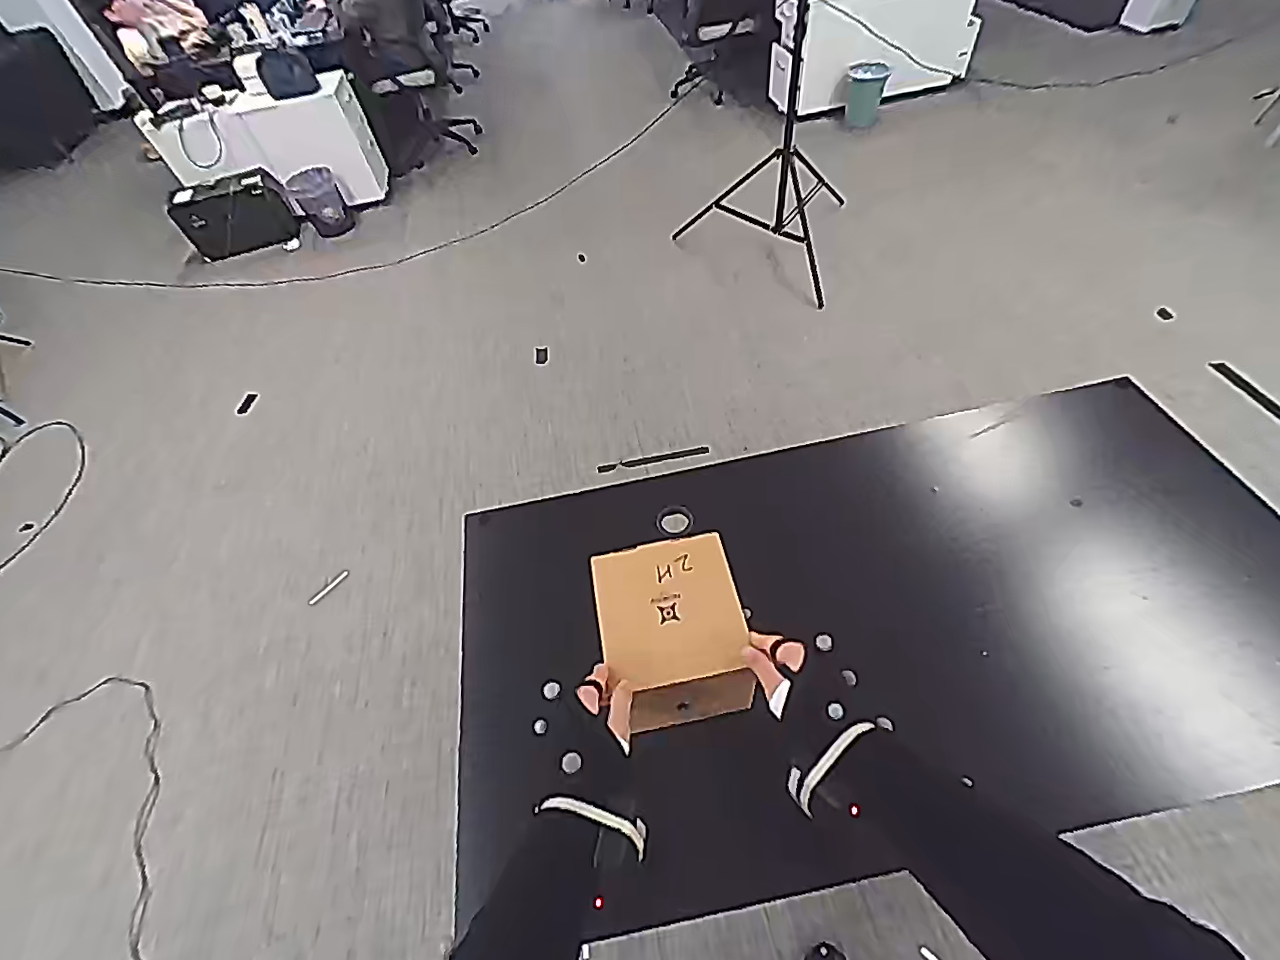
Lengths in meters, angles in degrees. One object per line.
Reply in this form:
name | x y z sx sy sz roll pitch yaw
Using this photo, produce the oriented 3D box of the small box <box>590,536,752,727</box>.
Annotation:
small box | 0.039 0.201 0.691 0.168 0.176 0.179 -12 51 -1
